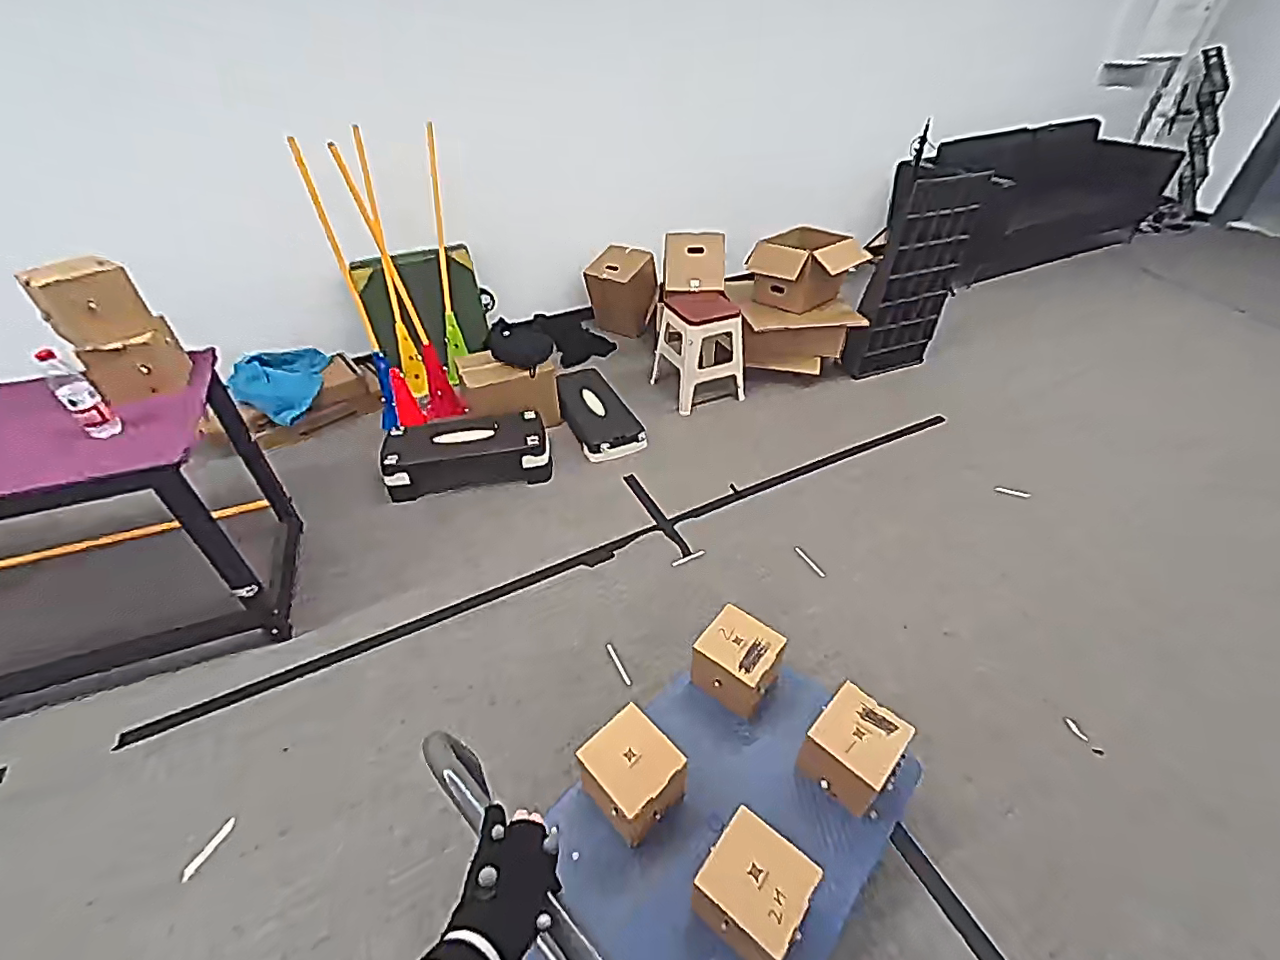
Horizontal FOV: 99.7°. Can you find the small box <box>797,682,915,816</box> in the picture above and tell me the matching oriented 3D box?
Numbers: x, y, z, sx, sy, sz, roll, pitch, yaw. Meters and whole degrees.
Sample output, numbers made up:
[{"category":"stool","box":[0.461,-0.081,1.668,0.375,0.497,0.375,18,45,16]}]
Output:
[{"category":"small box","box":[0.475,0.602,1.210,0.179,0.176,0.168,-33,51,-31]}]

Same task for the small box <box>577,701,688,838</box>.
[{"category":"small box","box":[-0.019,0.631,1.179,0.168,0.176,0.179,-31,51,-31]}]

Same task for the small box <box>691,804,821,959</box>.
[{"category":"small box","box":[0.209,0.767,1.018,0.179,0.176,0.168,29,48,30]}]
